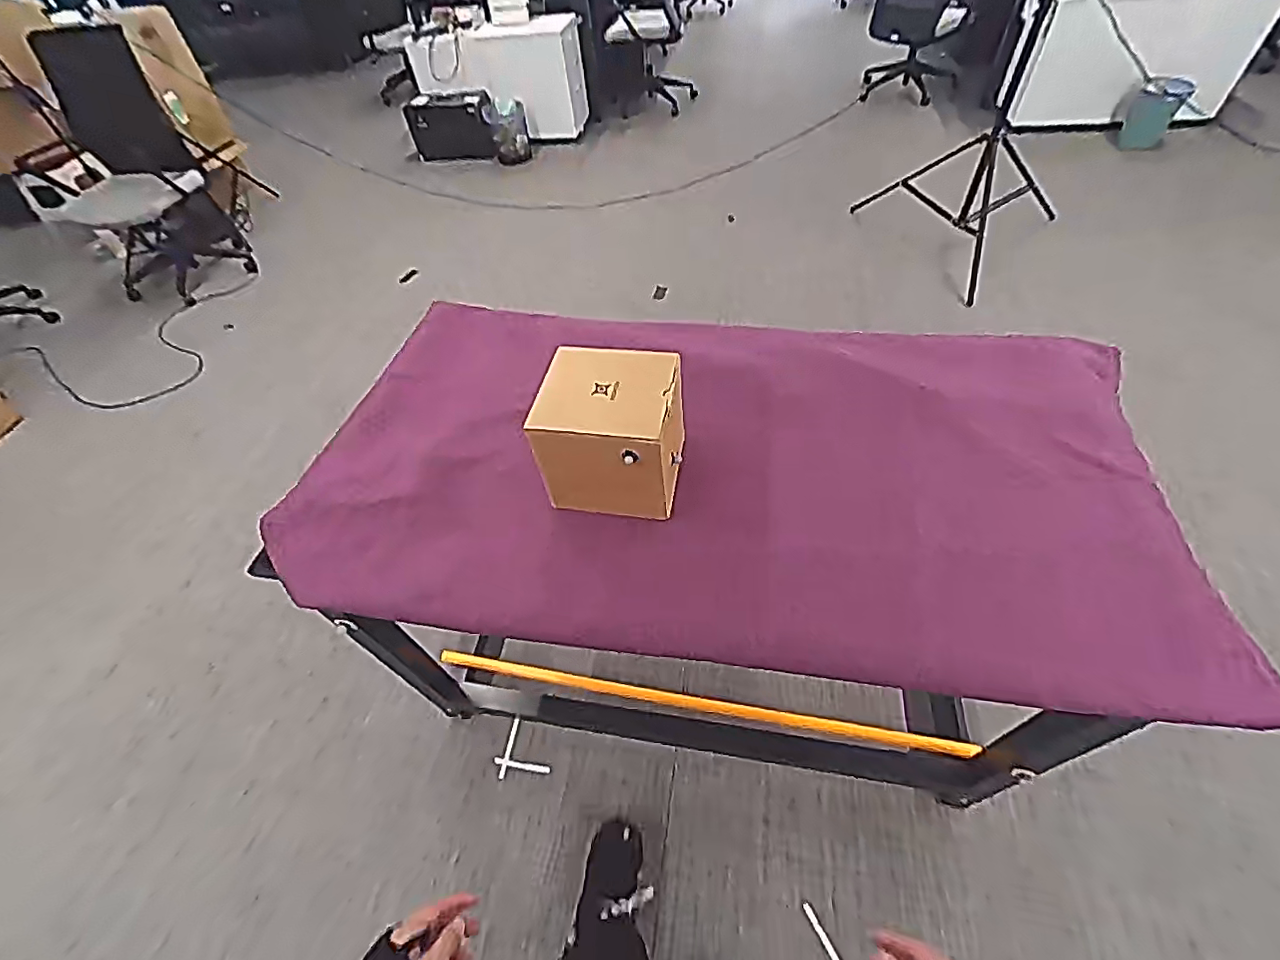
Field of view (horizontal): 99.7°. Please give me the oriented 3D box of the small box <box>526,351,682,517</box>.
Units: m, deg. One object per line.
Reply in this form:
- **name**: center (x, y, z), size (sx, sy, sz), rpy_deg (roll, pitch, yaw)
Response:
- **small box**: center (-0.039, -0.063, 0.770), size (0.179, 0.176, 0.168), rpy_deg (6, 51, 10)
